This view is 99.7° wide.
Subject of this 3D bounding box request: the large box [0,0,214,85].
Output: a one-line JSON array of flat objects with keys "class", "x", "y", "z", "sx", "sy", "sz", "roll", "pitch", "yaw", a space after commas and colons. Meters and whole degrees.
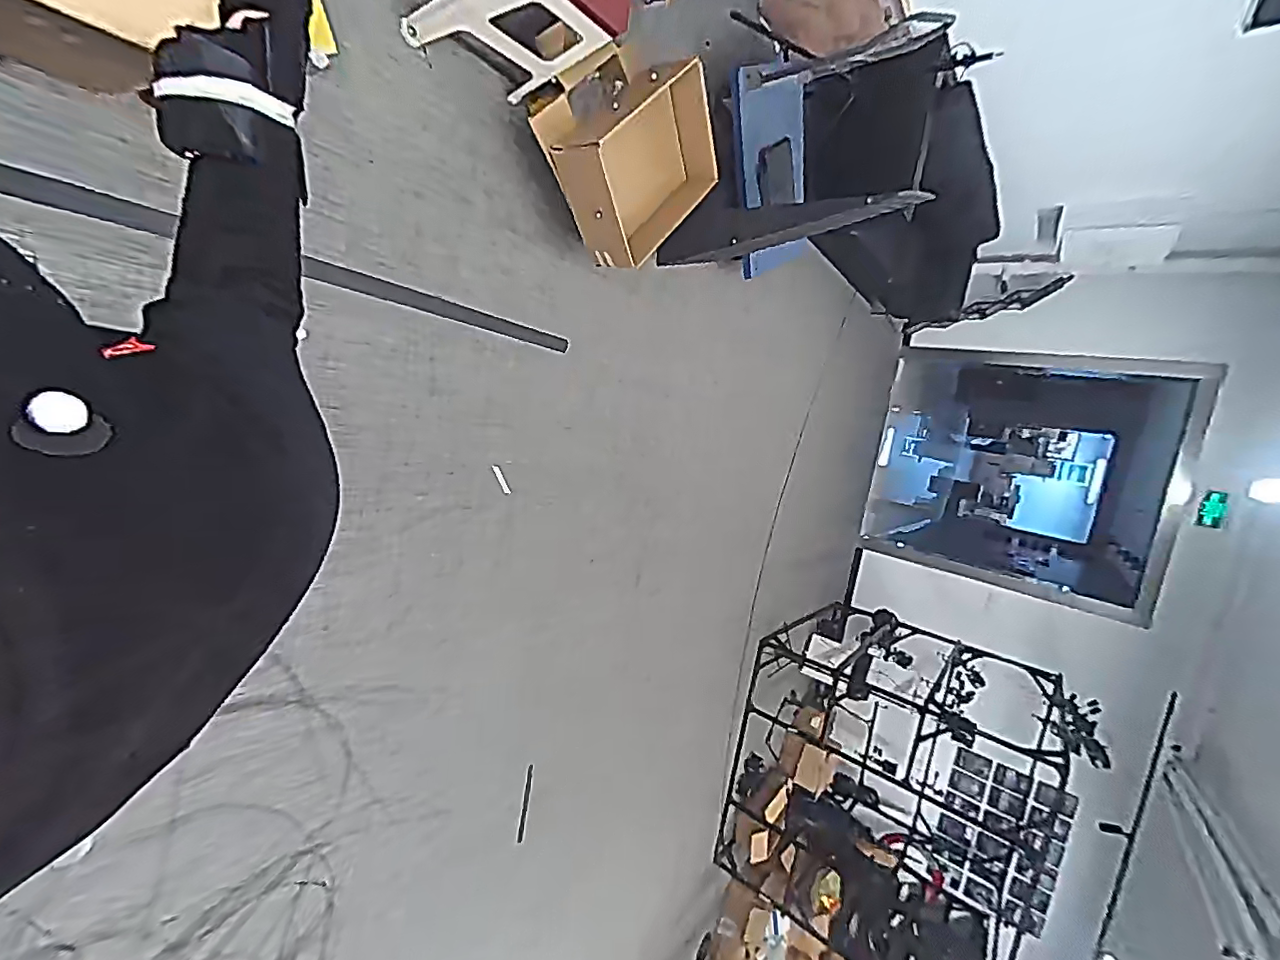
[{"class": "large box", "x": -0.502, "y": -0.468, "z": 0.265, "sx": 0.408, "sy": 0.320, "sz": 0.320, "roll": -6, "pitch": 116, "yaw": -54}]
